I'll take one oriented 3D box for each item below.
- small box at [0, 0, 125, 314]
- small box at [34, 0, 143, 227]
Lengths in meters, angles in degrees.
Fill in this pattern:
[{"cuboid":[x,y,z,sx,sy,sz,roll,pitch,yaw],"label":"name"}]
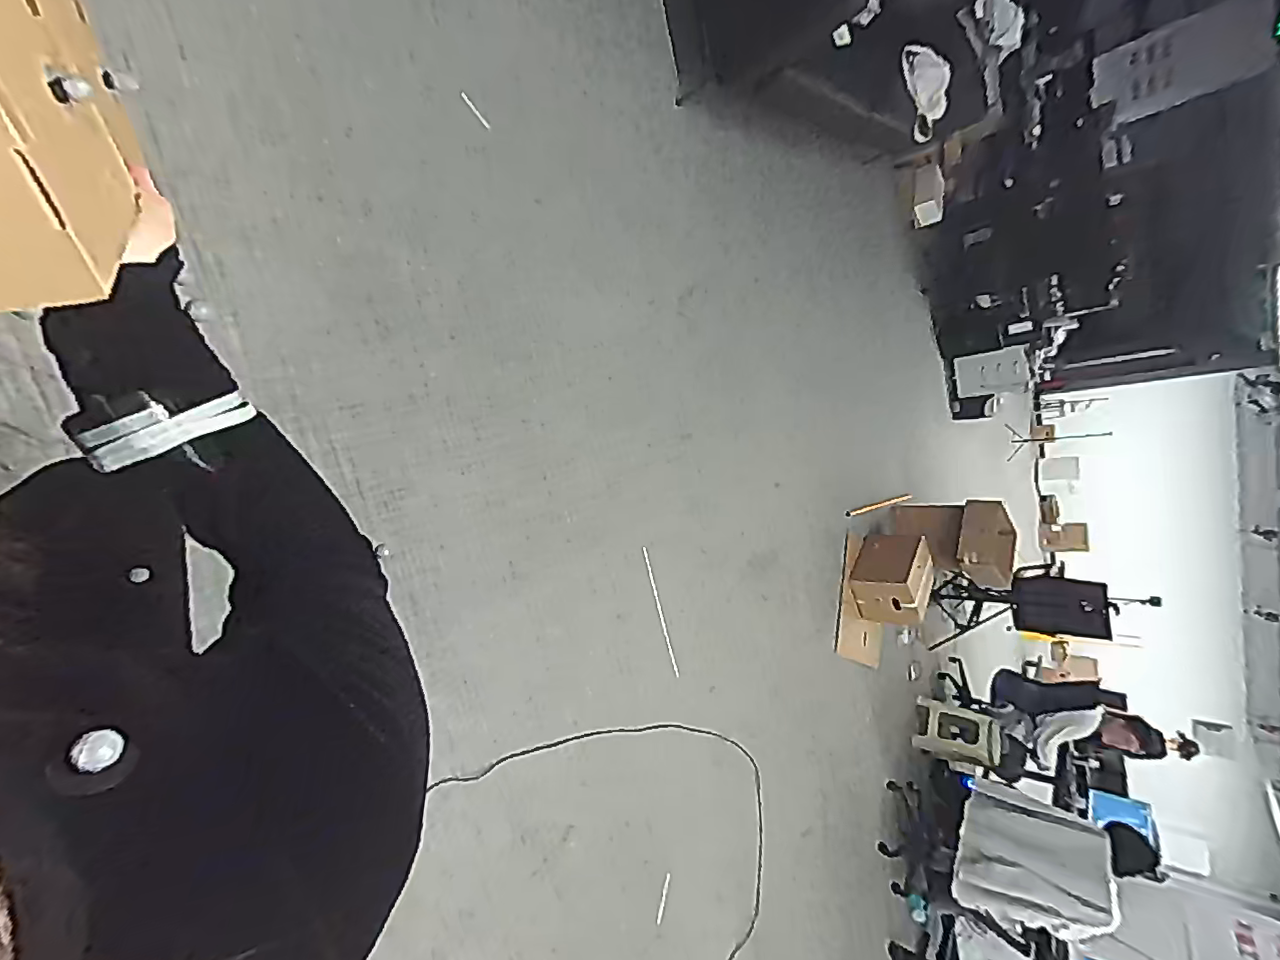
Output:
[{"cuboid":[-0.357,-0.166,0.212,0.179,0.176,0.168,-19,136,-25],"label":"small box"},{"cuboid":[-0.441,-0.257,0.318,0.179,0.176,0.168,-16,135,-27],"label":"small box"}]
